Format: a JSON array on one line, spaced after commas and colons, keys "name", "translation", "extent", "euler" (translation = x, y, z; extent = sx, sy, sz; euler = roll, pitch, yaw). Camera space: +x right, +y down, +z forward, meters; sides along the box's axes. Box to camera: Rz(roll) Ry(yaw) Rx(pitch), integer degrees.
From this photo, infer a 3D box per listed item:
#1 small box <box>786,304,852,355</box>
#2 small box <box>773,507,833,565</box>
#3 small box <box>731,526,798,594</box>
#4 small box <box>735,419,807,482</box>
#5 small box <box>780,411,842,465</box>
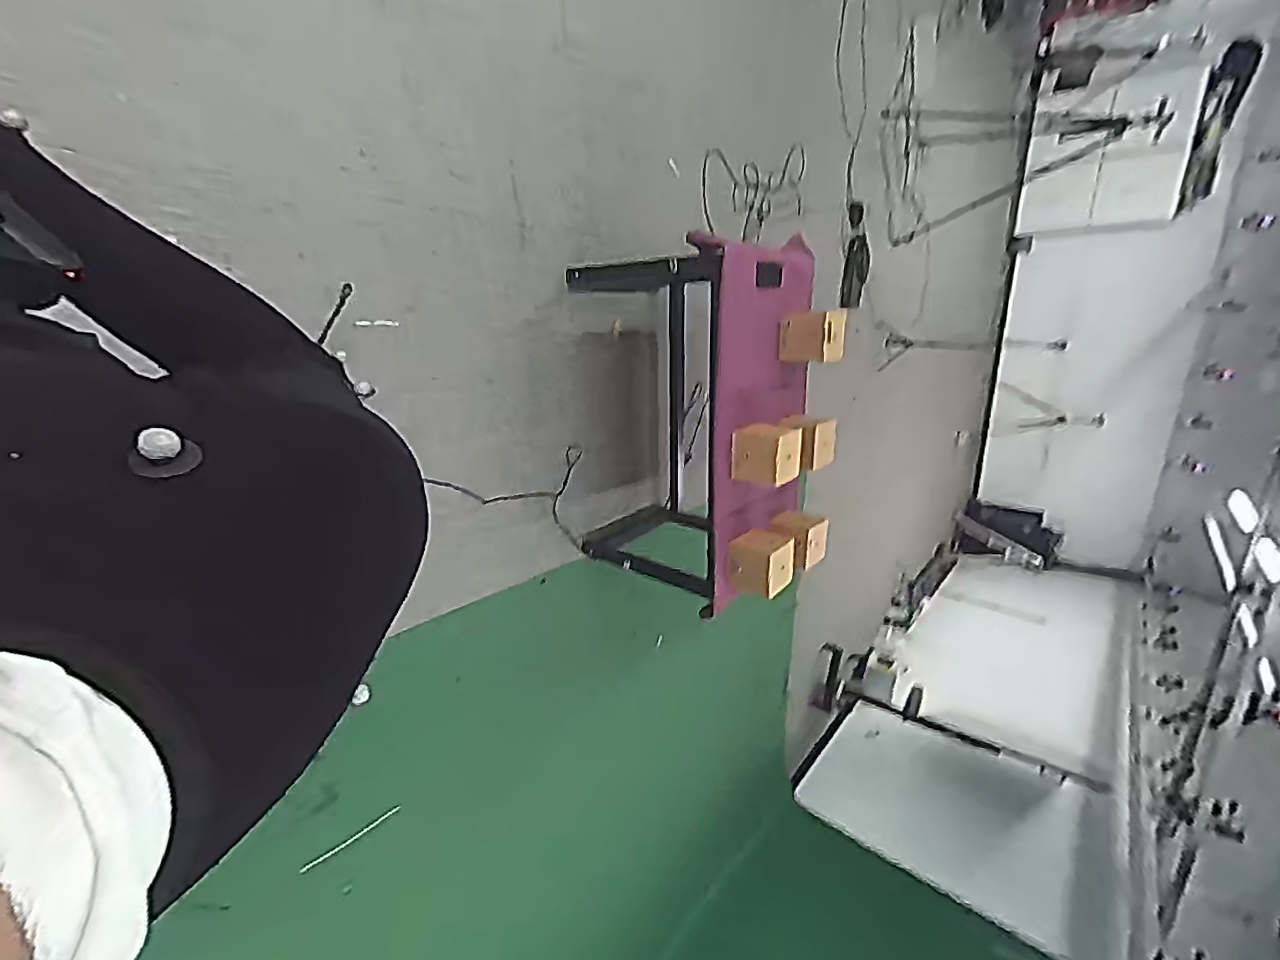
[{"name": "small box", "translation": [0.627, -0.530, 1.903], "extent": [0.179, 0.176, 0.168], "euler": [-20, 115, -45]}, {"name": "small box", "translation": [0.635, 0.213, 2.125], "extent": [0.179, 0.176, 0.168], "euler": [-17, 112, -46]}, {"name": "small box", "translation": [0.440, 0.274, 1.910], "extent": [0.179, 0.176, 0.168], "euler": [-20, 113, -45]}, {"name": "small box", "translation": [0.437, -0.104, 1.806], "extent": [0.179, 0.176, 0.168], "euler": [-19, 115, -46]}, {"name": "small box", "translation": [0.631, -0.163, 2.017], "extent": [0.179, 0.176, 0.168], "euler": [-18, 113, -45]}]
